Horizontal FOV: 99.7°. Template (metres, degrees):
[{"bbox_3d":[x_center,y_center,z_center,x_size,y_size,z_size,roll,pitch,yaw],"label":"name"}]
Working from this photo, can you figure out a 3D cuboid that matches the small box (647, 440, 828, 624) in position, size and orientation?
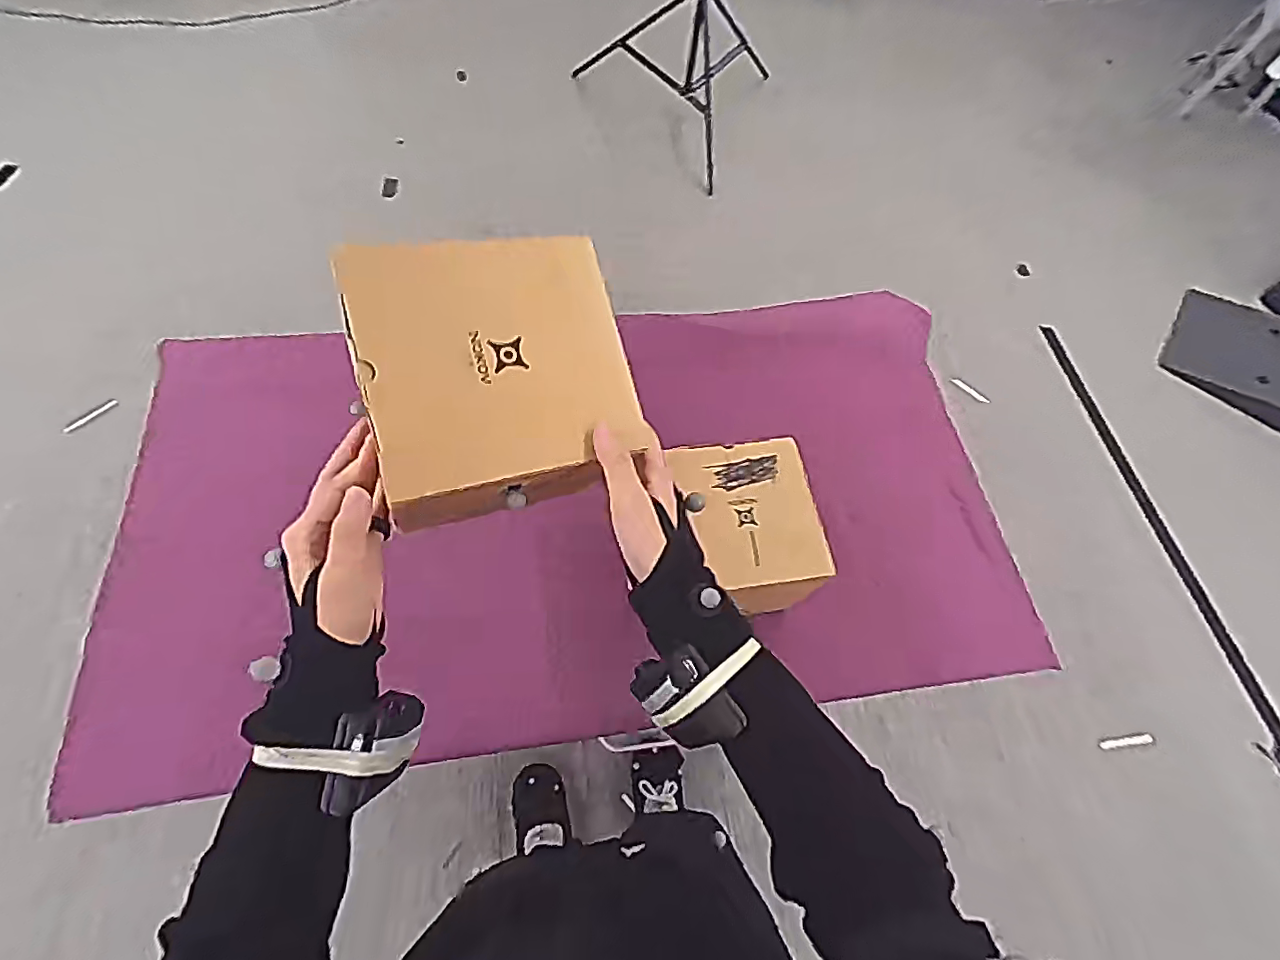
[{"bbox_3d":[0.107,0.071,0.685,0.168,0.176,0.179,-6,66,-8],"label":"small box"}]

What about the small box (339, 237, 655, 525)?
[{"bbox_3d":[-0.114,-0.068,0.426,0.179,0.176,0.168,-14,85,-22],"label":"small box"}]
